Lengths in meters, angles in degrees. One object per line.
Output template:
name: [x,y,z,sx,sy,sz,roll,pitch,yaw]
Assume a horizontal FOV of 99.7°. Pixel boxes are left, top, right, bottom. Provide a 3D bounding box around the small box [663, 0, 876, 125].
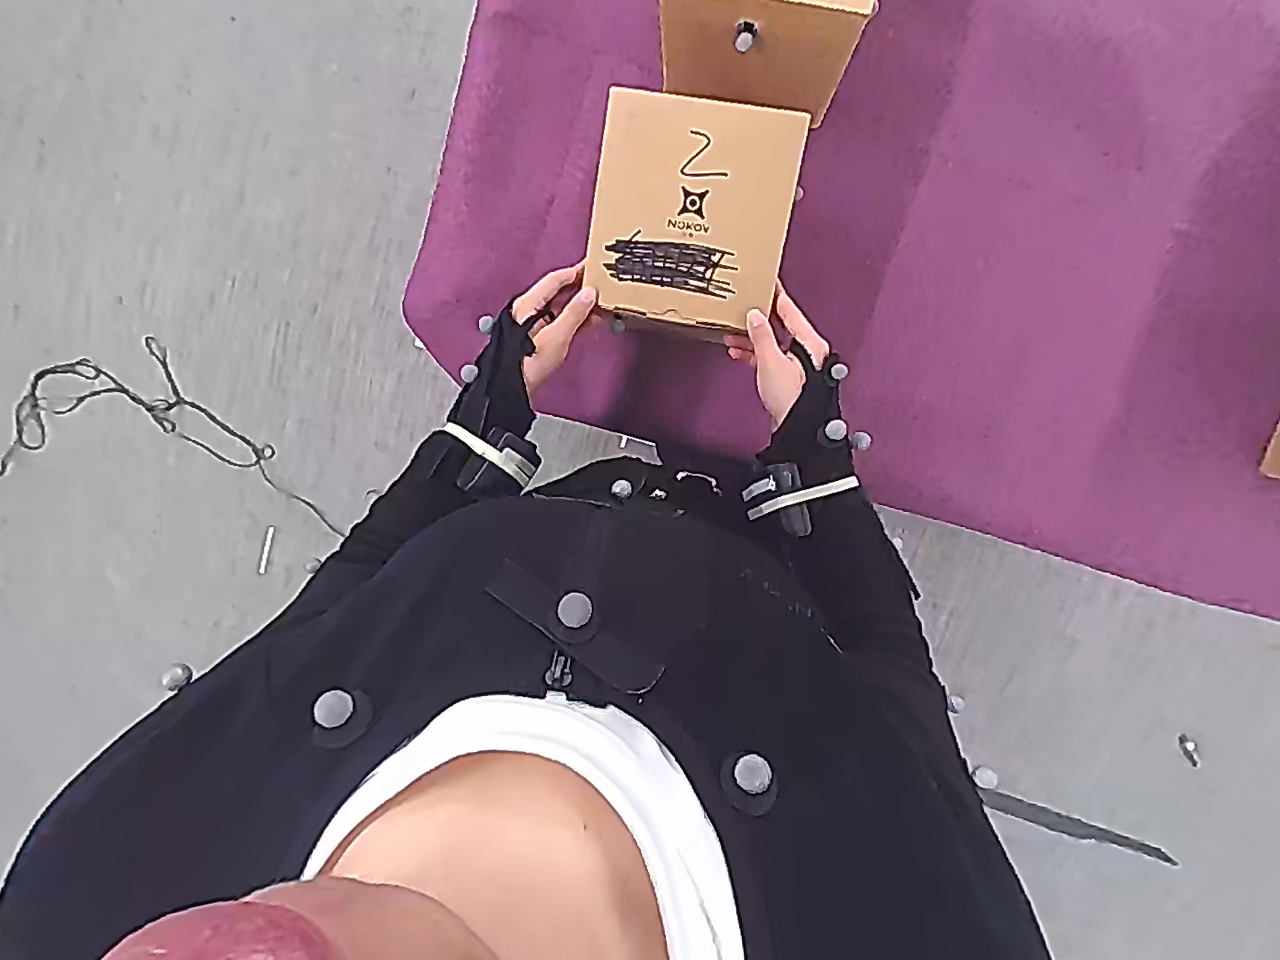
small box: [0.126,-0.474,0.512,0.179,0.176,0.168,13,96,4]
